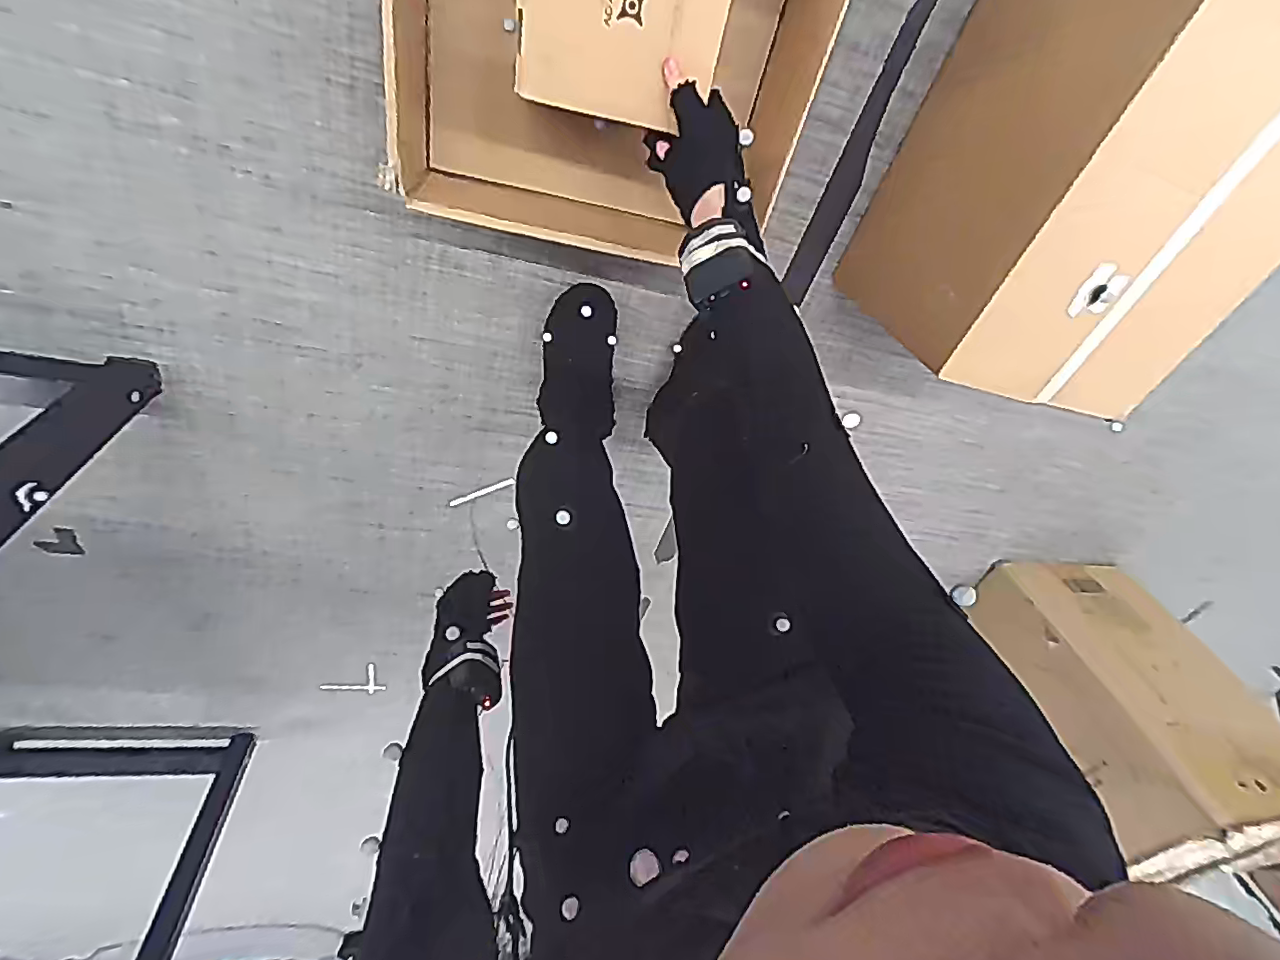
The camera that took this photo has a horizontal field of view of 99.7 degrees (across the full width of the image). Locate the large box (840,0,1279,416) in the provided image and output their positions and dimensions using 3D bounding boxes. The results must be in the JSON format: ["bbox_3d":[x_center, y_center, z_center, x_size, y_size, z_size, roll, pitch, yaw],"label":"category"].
[{"bbox_3d":[0.525,-0.347,0.664,0.320,0.320,0.408,9,129,-16],"label":"large box"}]
